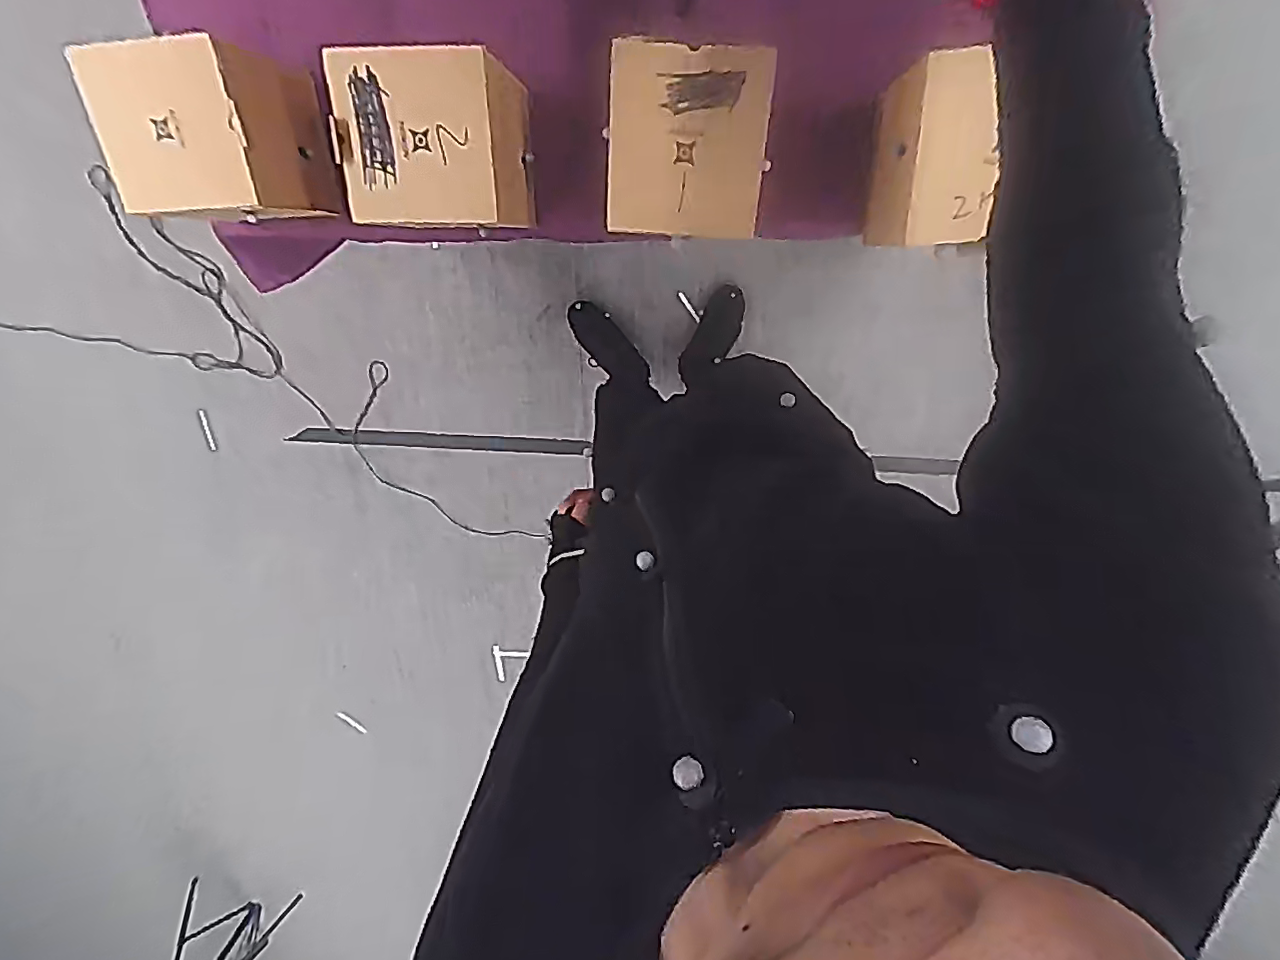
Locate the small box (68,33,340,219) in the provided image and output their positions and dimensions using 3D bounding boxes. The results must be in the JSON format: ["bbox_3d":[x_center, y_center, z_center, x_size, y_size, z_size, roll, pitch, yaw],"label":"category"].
[{"bbox_3d":[-0.523,-0.426,0.679,0.179,0.176,0.168,-1,114,5],"label":"small box"}]

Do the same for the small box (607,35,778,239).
[{"bbox_3d":[0.056,-0.385,0.637,0.168,0.176,0.179,5,115,4],"label":"small box"}]

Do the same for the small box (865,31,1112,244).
[{"bbox_3d":[0.367,-0.366,0.611,0.168,0.176,0.179,0,114,7],"label":"small box"}]
